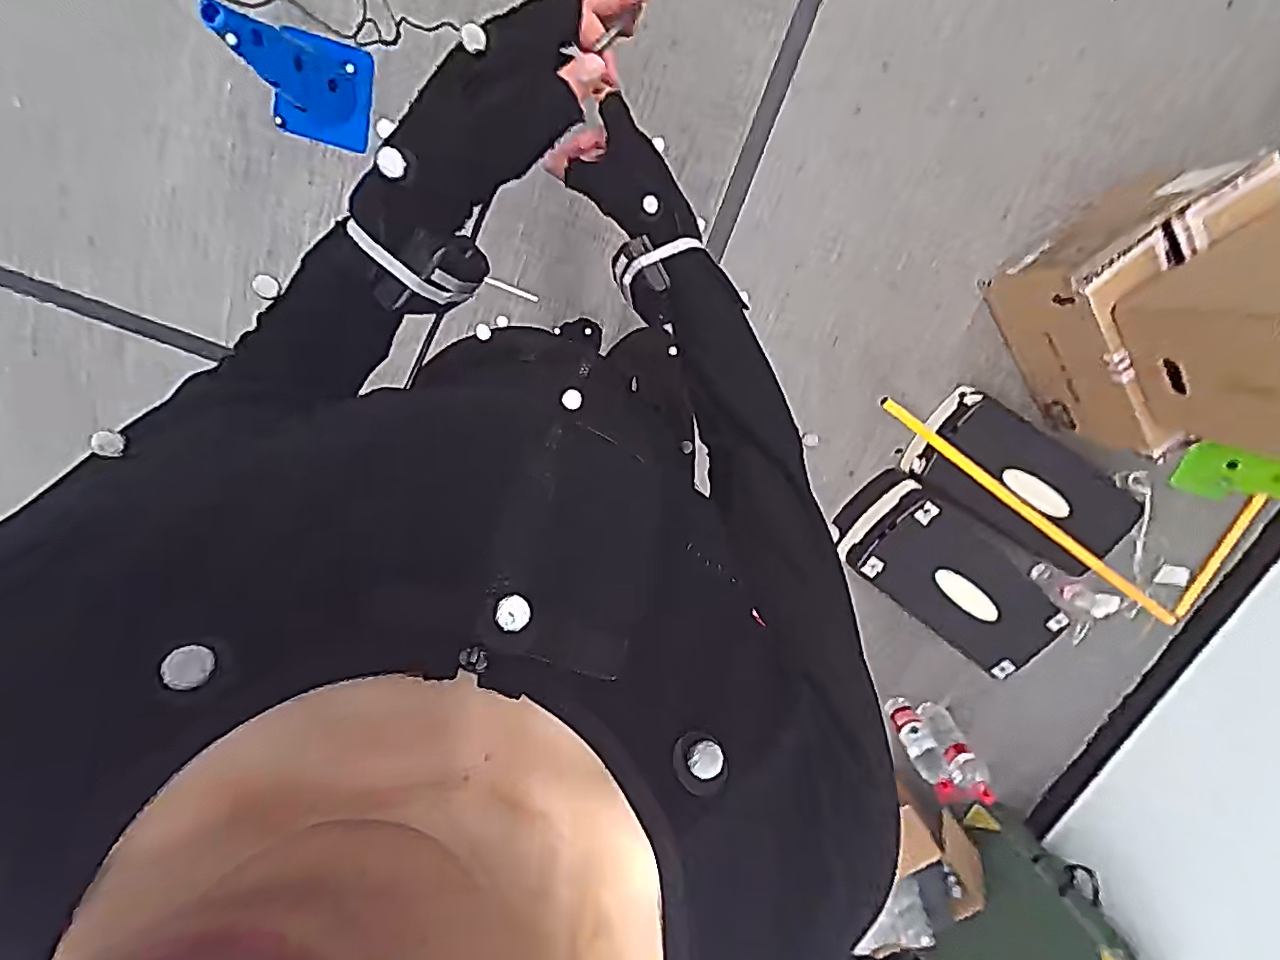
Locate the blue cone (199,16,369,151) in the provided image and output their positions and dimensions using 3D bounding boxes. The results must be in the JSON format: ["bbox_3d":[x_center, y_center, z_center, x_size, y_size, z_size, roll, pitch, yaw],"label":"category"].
[{"bbox_3d":[-0.678,-0.778,1.013,0.193,0.380,0.192,14,109,-8],"label":"blue cone"}]
